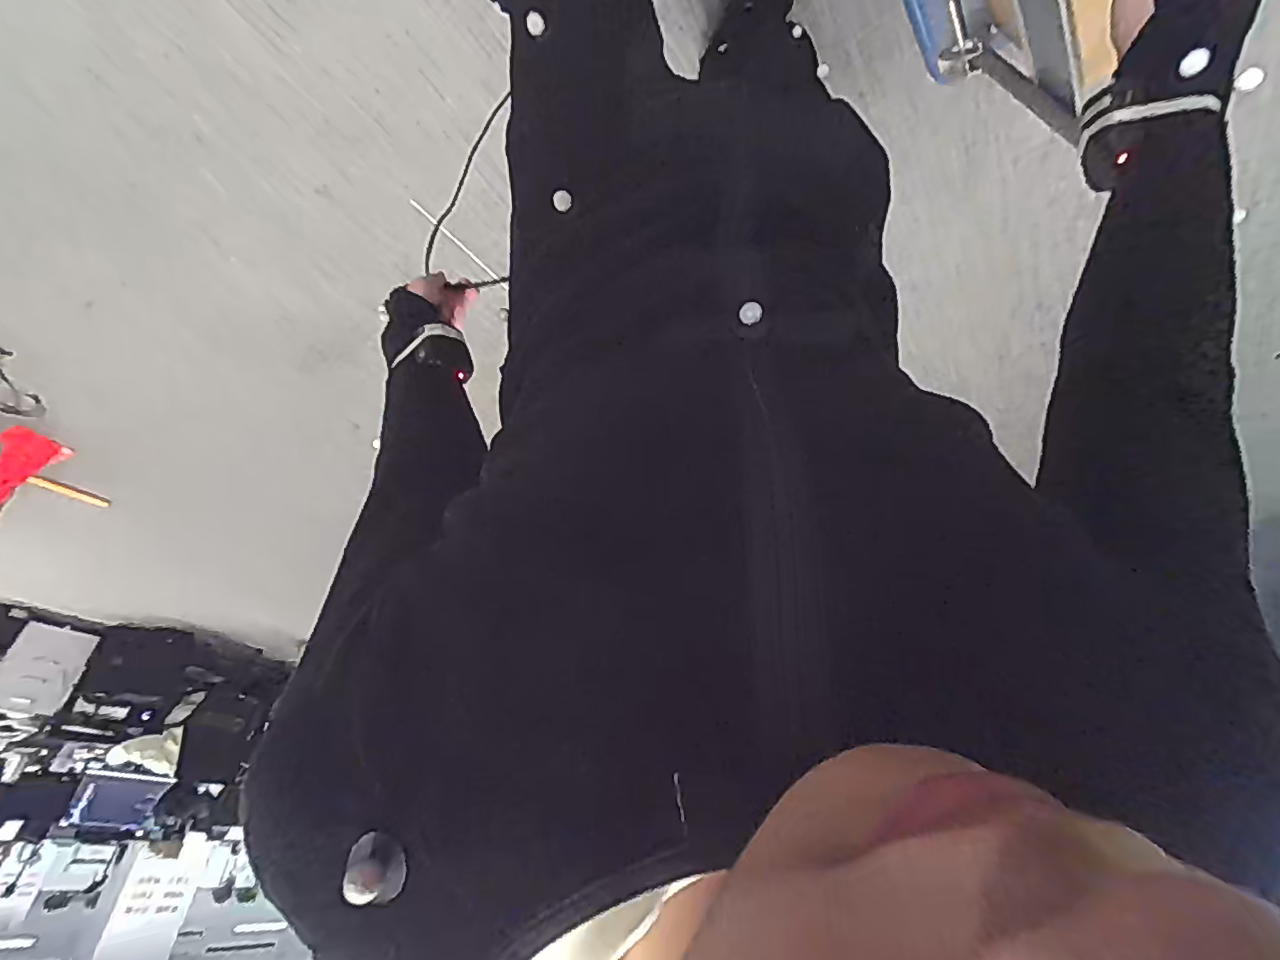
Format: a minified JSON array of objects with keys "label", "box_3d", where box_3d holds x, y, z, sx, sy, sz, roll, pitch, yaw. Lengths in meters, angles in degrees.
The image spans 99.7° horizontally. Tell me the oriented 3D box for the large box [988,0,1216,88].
[{"label":"large box","box_3d":[0.684,-0.830,0.682,0.408,0.320,0.320,-26,137,31]}]
